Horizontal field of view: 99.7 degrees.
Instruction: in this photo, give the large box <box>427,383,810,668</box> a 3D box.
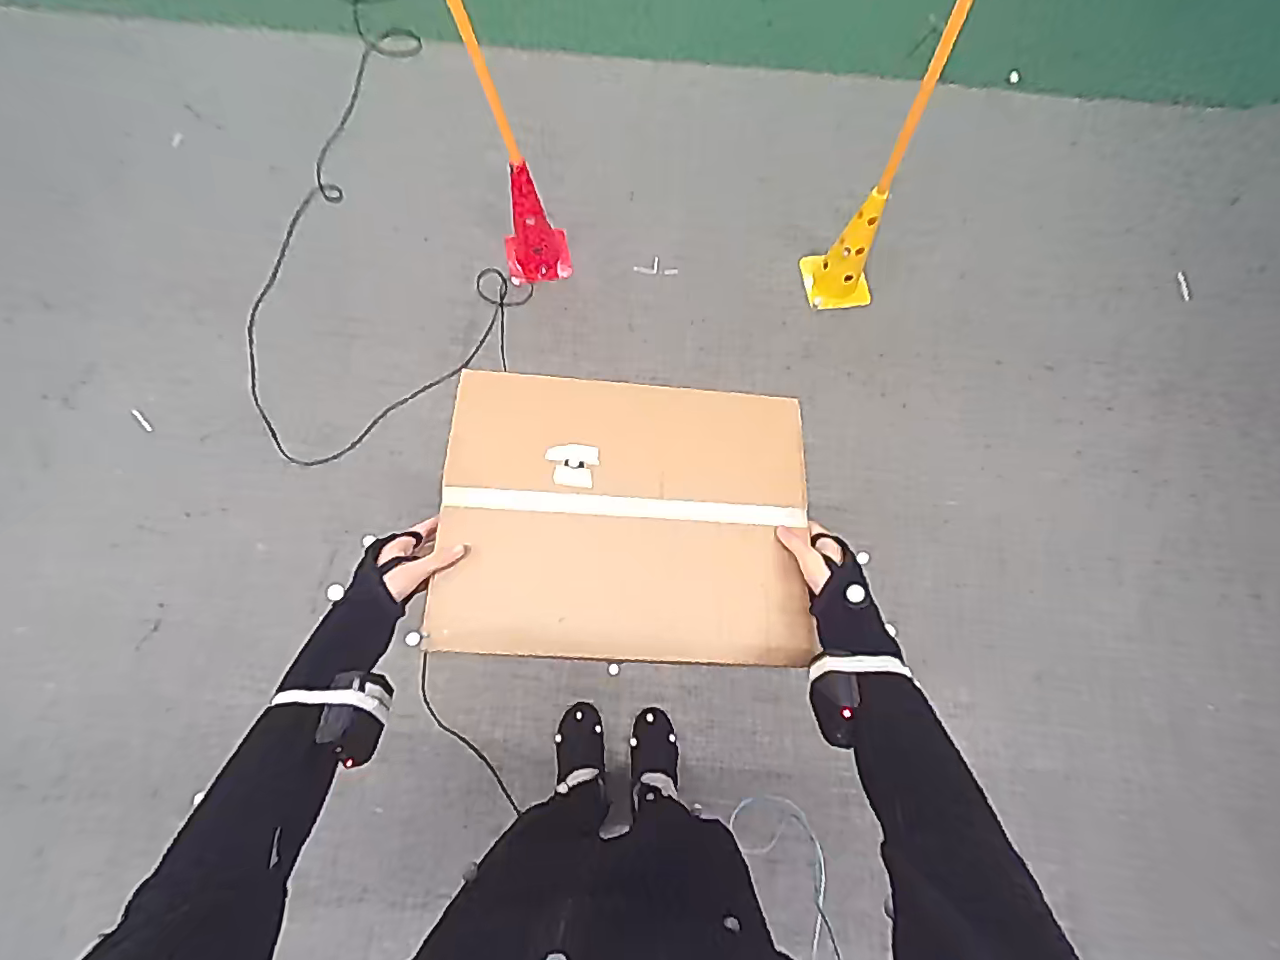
[{"bbox_3d":[-0.024,0.087,0.742,0.408,0.320,0.320,4,70,-4],"label":"large box"}]
